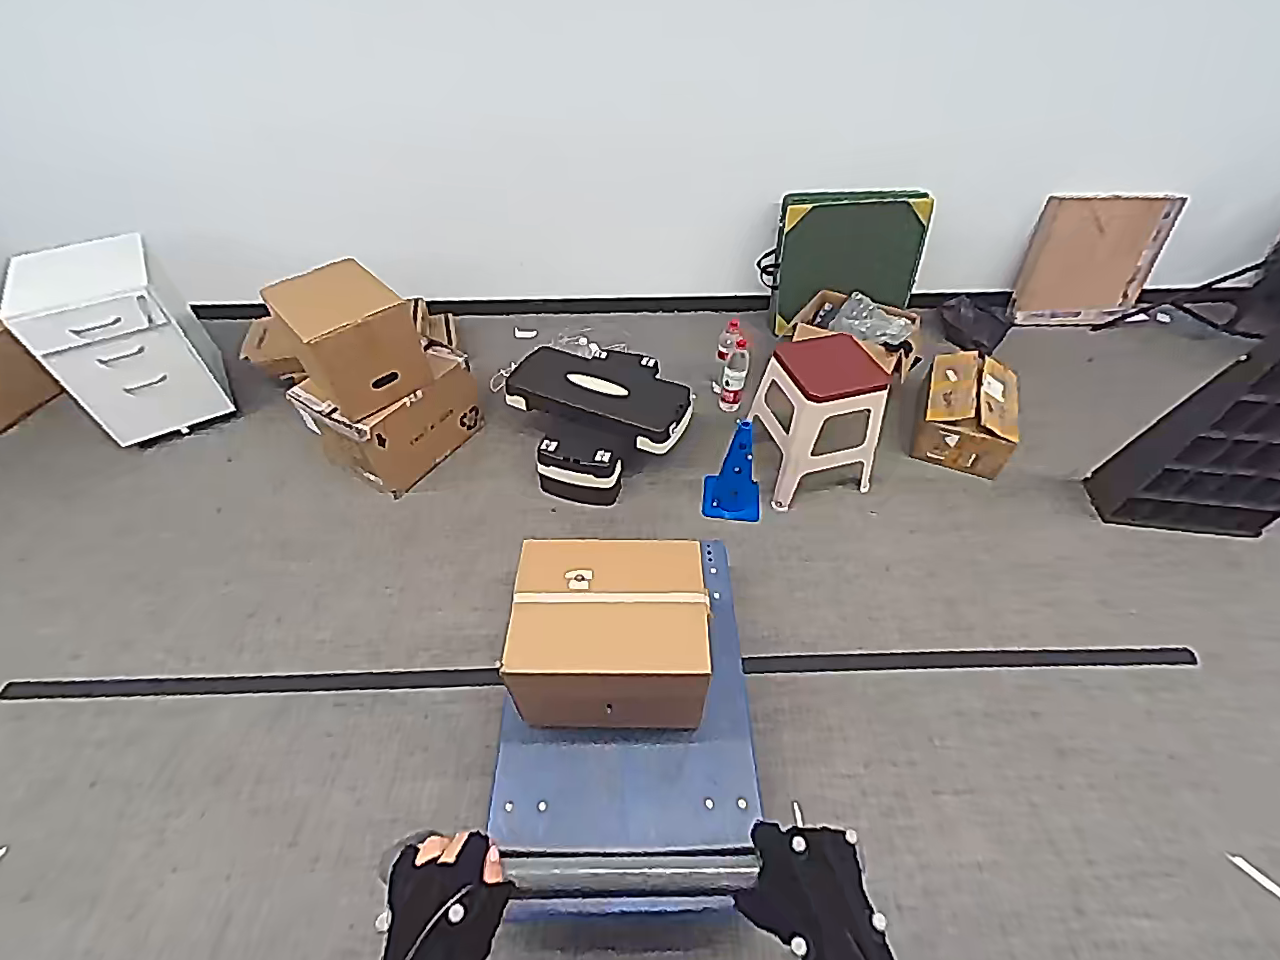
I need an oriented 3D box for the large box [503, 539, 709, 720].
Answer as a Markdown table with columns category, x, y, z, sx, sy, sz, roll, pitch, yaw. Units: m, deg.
| category | x | y | z | sx | sy | sz | roll | pitch | yaw |
| --- | --- | --- | --- | --- | --- | --- | --- | --- | --- |
| large box | -0.064 | 0.350 | 1.246 | 0.408 | 0.320 | 0.320 | 0 | 48 | 1 |
